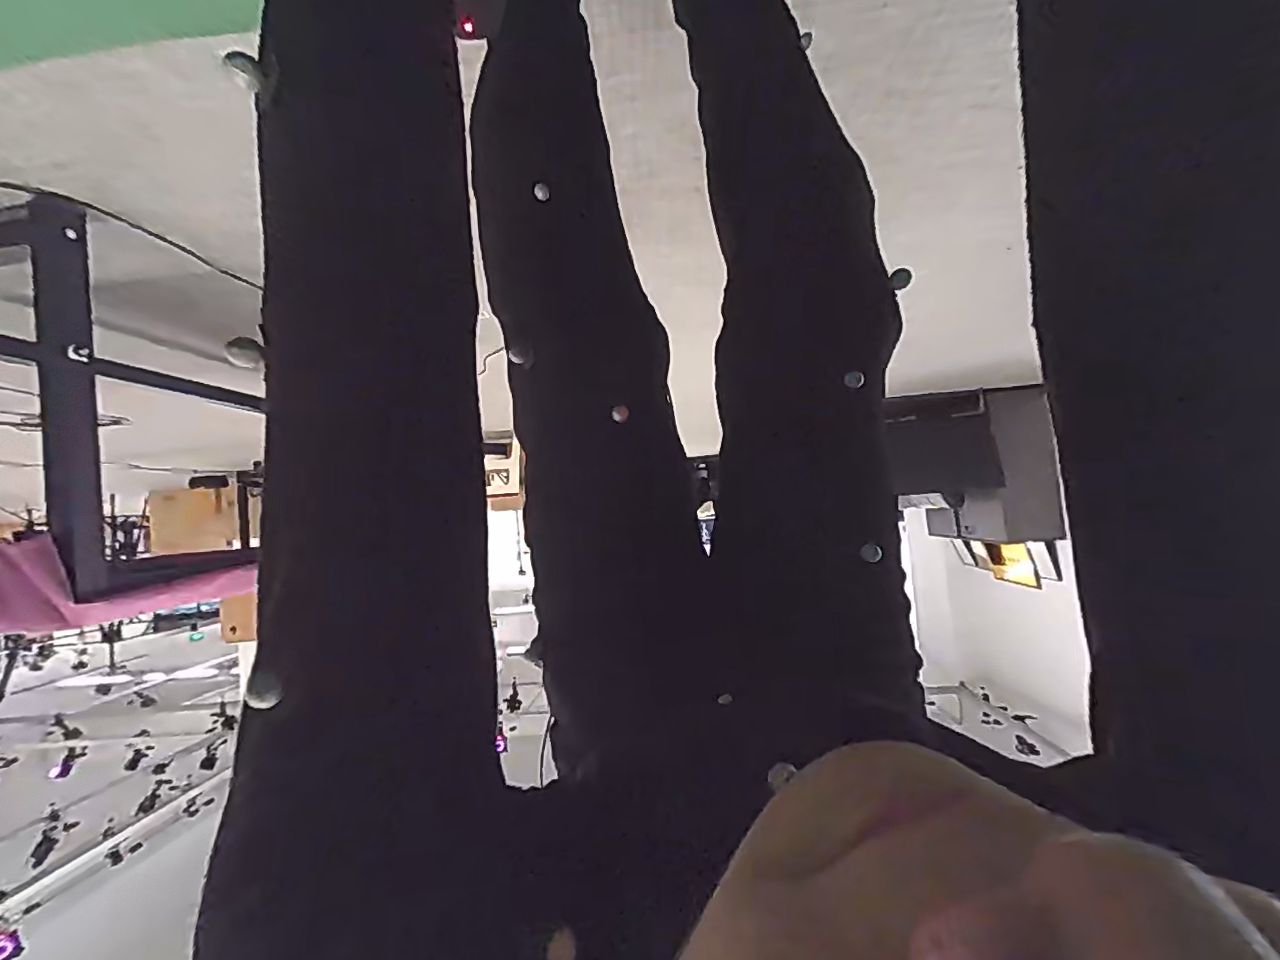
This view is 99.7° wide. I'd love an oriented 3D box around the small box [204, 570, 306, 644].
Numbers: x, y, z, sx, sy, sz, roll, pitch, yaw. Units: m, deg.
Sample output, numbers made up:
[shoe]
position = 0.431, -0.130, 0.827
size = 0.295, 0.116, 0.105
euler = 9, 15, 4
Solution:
[small box]
position = -1.081, 0.348, 1.517
size = 0.179, 0.176, 0.168
euler = -5, 178, 5
